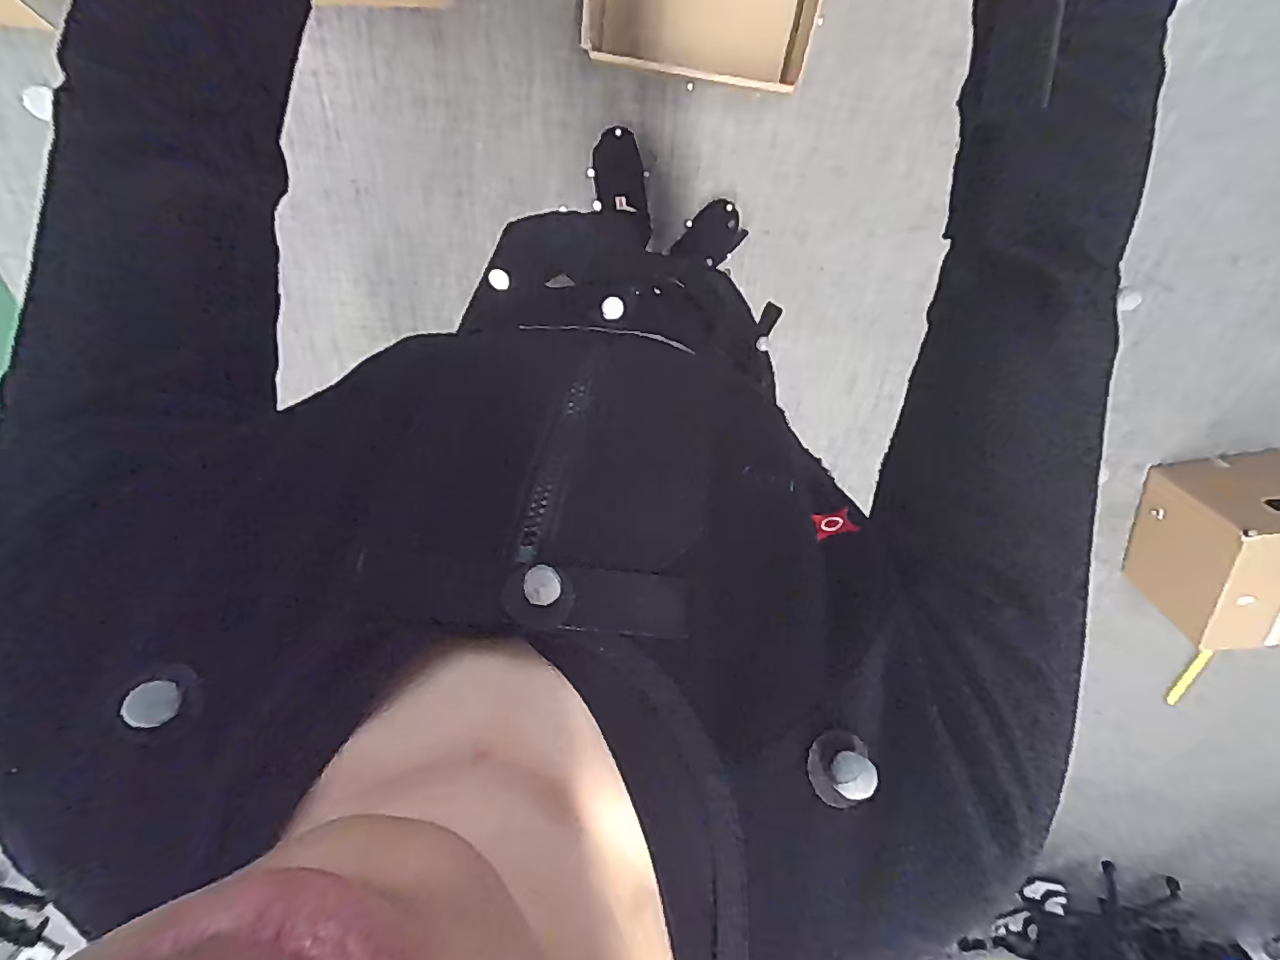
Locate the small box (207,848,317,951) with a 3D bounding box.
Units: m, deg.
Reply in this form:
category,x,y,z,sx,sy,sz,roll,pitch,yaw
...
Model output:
category,x,y,z,sx,sy,sz,roll,pitch,yaw
small box,-0.996,1.120,1.448,0.179,0.176,0.168,11,122,-3
